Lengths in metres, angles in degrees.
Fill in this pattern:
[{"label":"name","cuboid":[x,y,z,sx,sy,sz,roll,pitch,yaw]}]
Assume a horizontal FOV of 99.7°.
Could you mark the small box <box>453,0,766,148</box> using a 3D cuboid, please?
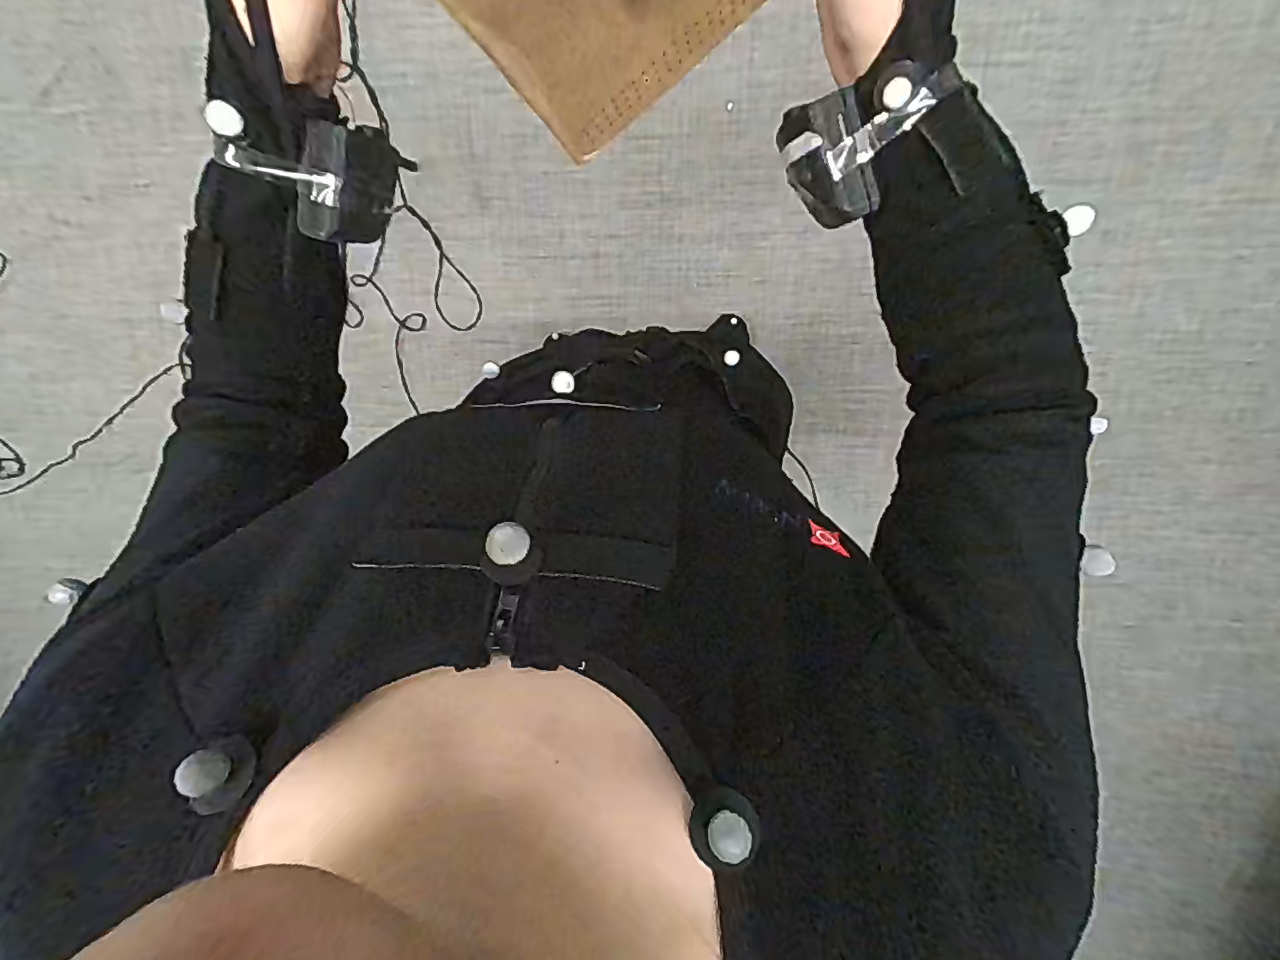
[{"label":"small box","cuboid":[-0.026,-0.278,0.209,0.179,0.176,0.168,-35,93,16]}]
